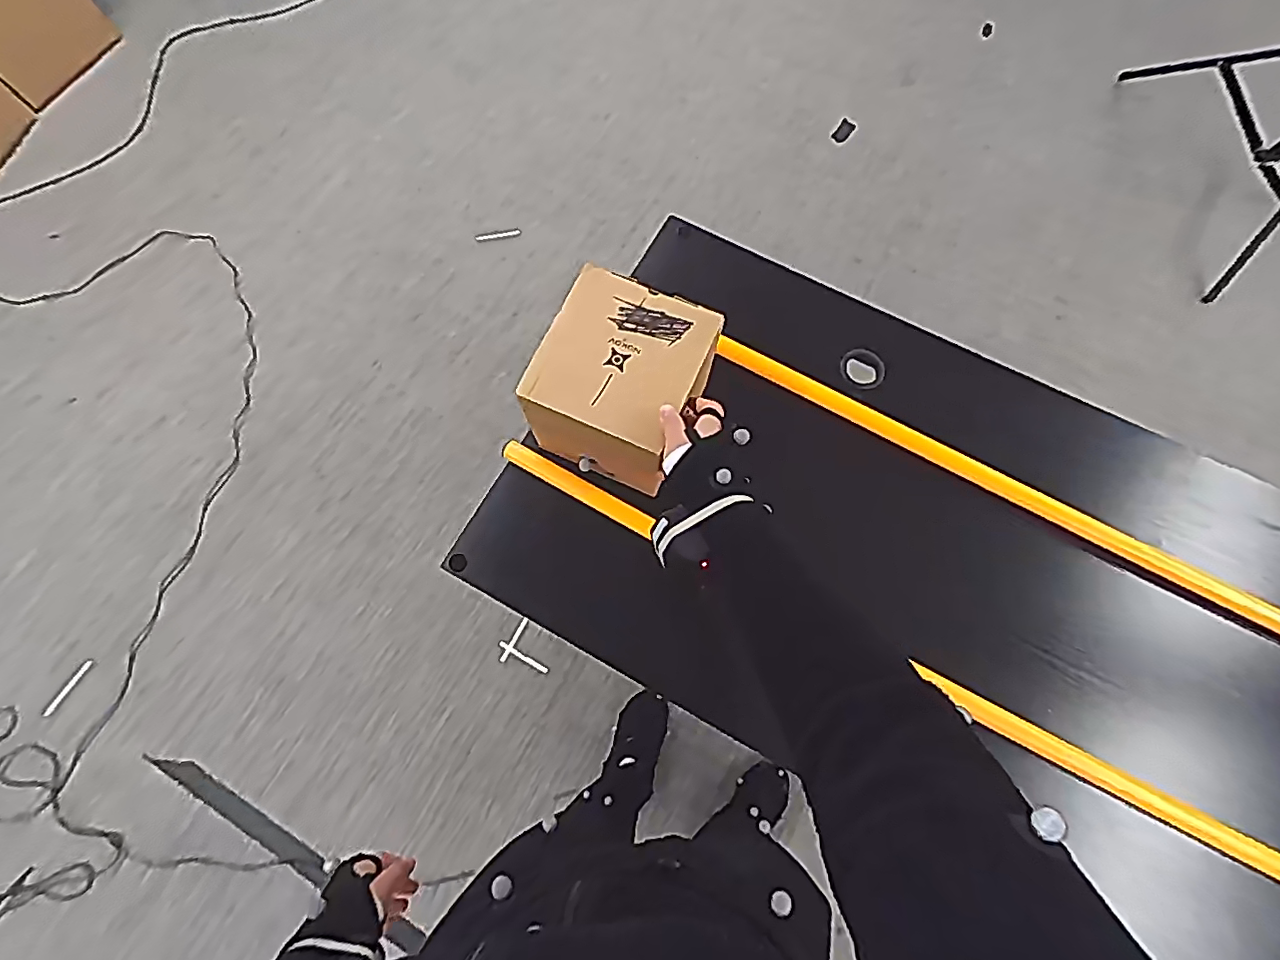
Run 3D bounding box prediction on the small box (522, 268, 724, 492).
[{"bbox_3d":[-0.018,-0.109,0.650,0.168,0.176,0.179,23,75,6],"label":"small box"}]
